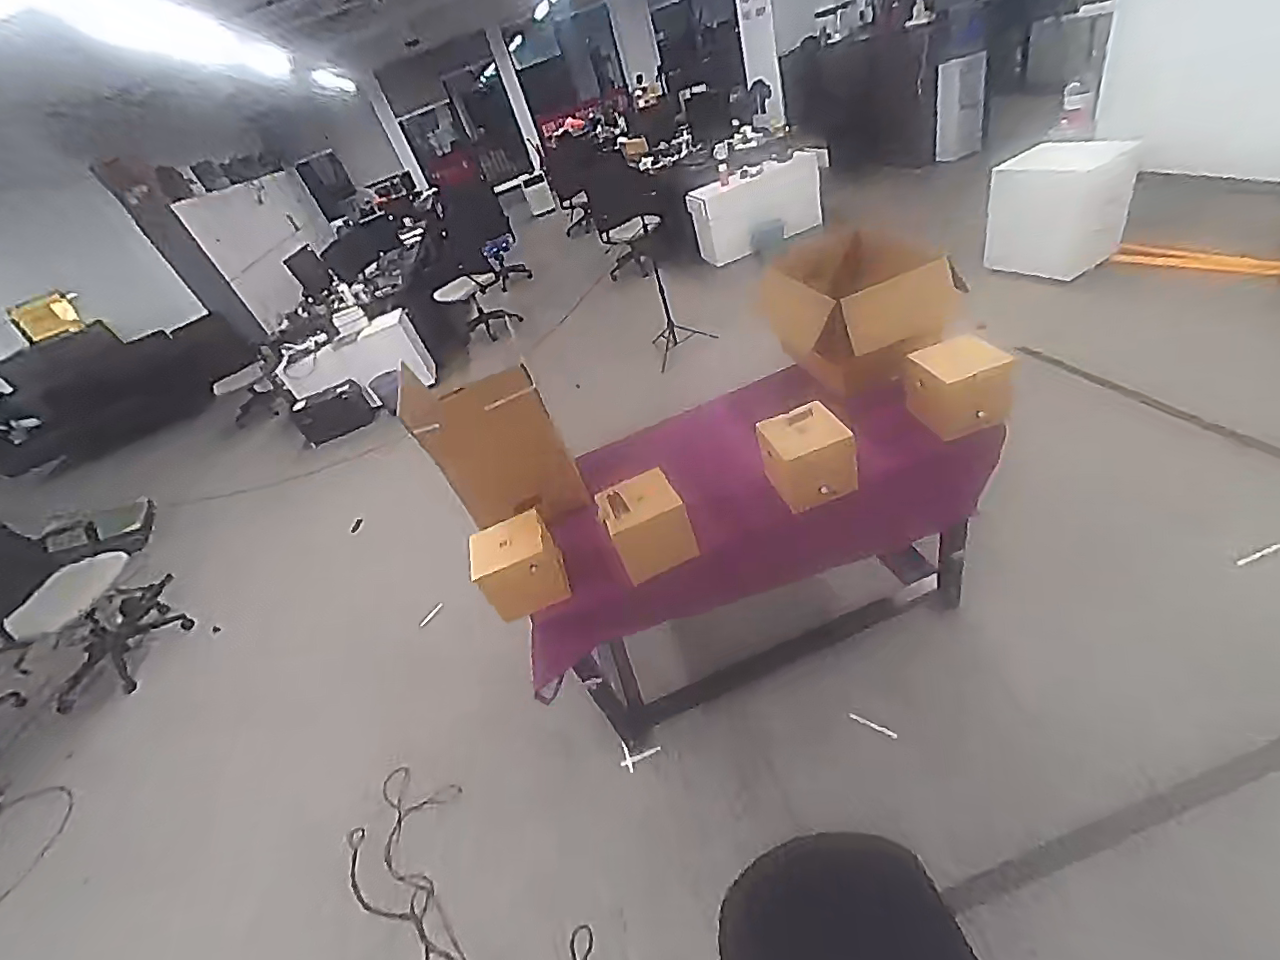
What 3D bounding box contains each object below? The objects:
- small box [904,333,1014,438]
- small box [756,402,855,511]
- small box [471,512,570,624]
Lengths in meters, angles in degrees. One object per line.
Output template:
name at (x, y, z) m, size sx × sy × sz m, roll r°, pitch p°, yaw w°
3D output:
small box at (0.773, -0.231, 1.327) m, size 0.168 × 0.176 × 0.179 m, roll -21°, pitch 36°, yaw 3°
small box at (0.397, -0.056, 1.299) m, size 0.168 × 0.176 × 0.179 m, roll -22°, pitch 37°, yaw 1°
small box at (-0.289, 0.214, 1.303) m, size 0.179 × 0.176 × 0.168 m, roll -23°, pitch 36°, yaw -4°
